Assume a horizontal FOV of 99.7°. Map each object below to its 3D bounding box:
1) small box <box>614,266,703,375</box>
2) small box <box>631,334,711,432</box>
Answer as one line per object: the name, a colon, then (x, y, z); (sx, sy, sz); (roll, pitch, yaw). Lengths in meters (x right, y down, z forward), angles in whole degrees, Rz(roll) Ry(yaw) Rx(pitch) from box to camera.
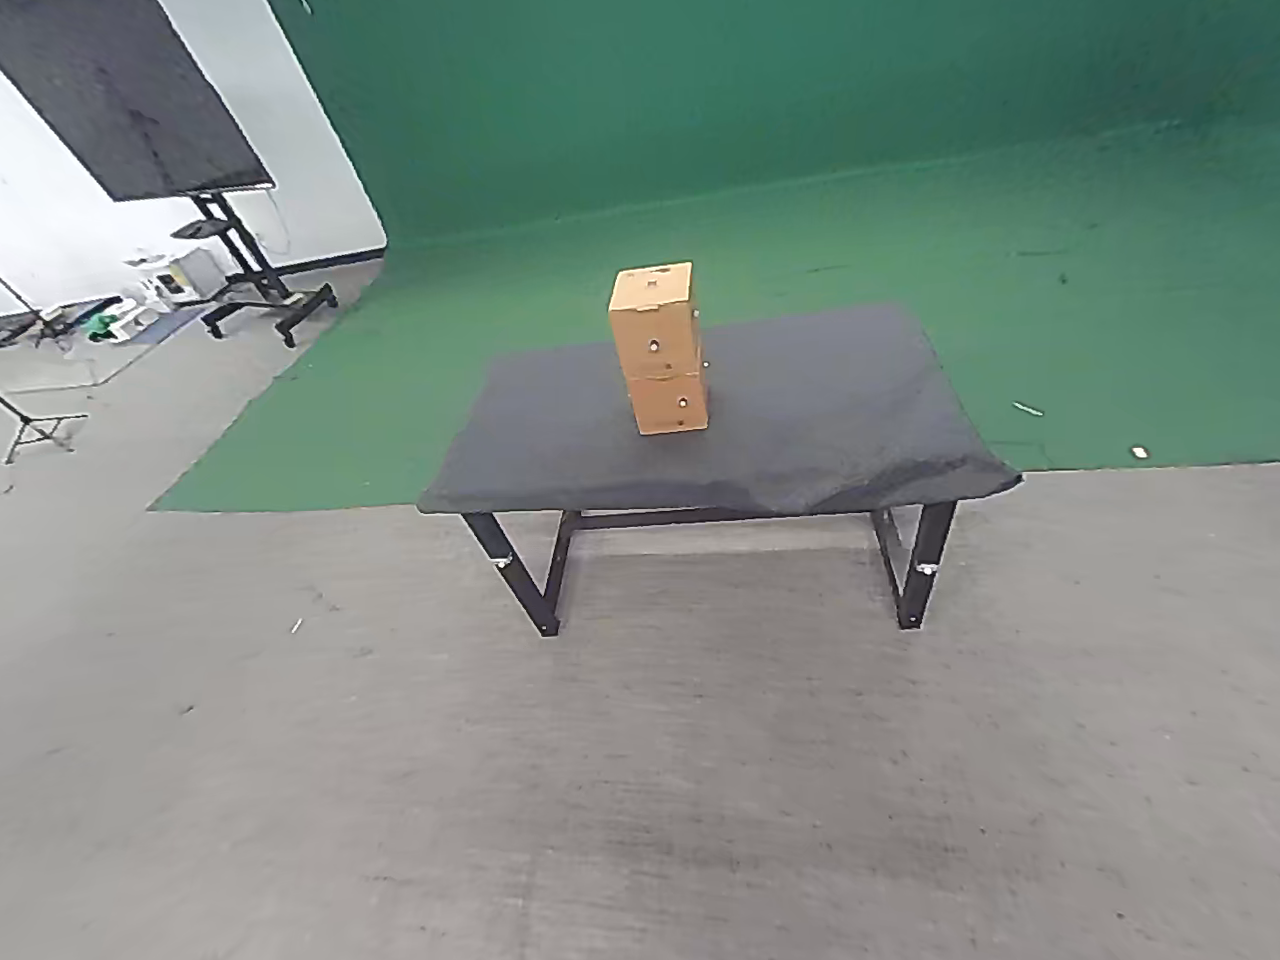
small box: (0.049, -0.344, 1.193); (0.168, 0.176, 0.179); (-2, 47, 12)
small box: (0.082, -0.227, 1.304); (0.168, 0.176, 0.179); (-4, 44, 11)
